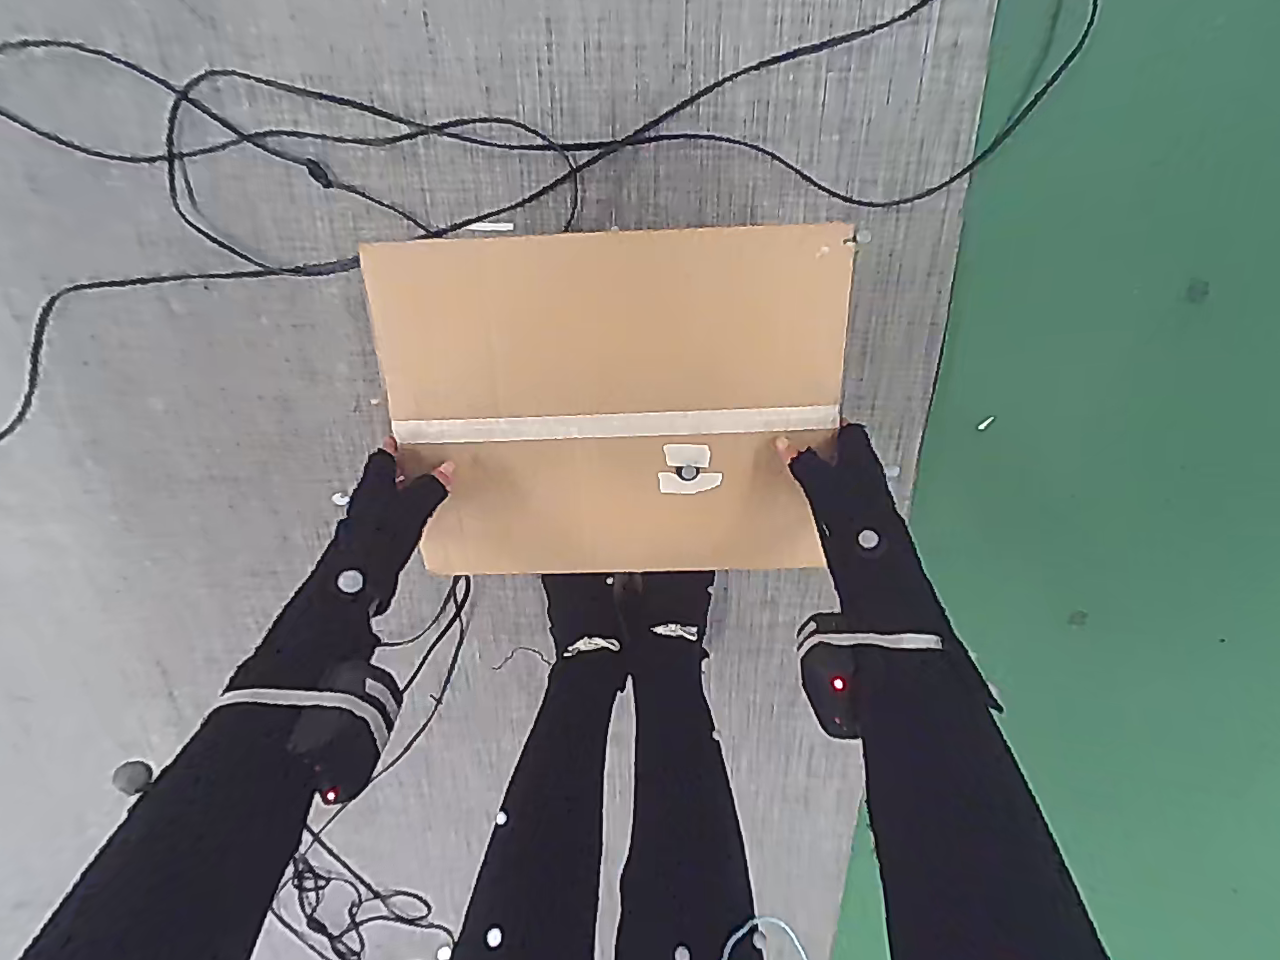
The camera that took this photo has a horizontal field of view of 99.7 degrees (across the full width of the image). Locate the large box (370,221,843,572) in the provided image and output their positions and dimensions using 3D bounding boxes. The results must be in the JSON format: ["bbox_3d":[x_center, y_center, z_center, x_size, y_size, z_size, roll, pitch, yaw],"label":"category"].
[{"bbox_3d":[-0.023,-0.109,0.637,0.408,0.320,0.320,-2,111,2],"label":"large box"}]
